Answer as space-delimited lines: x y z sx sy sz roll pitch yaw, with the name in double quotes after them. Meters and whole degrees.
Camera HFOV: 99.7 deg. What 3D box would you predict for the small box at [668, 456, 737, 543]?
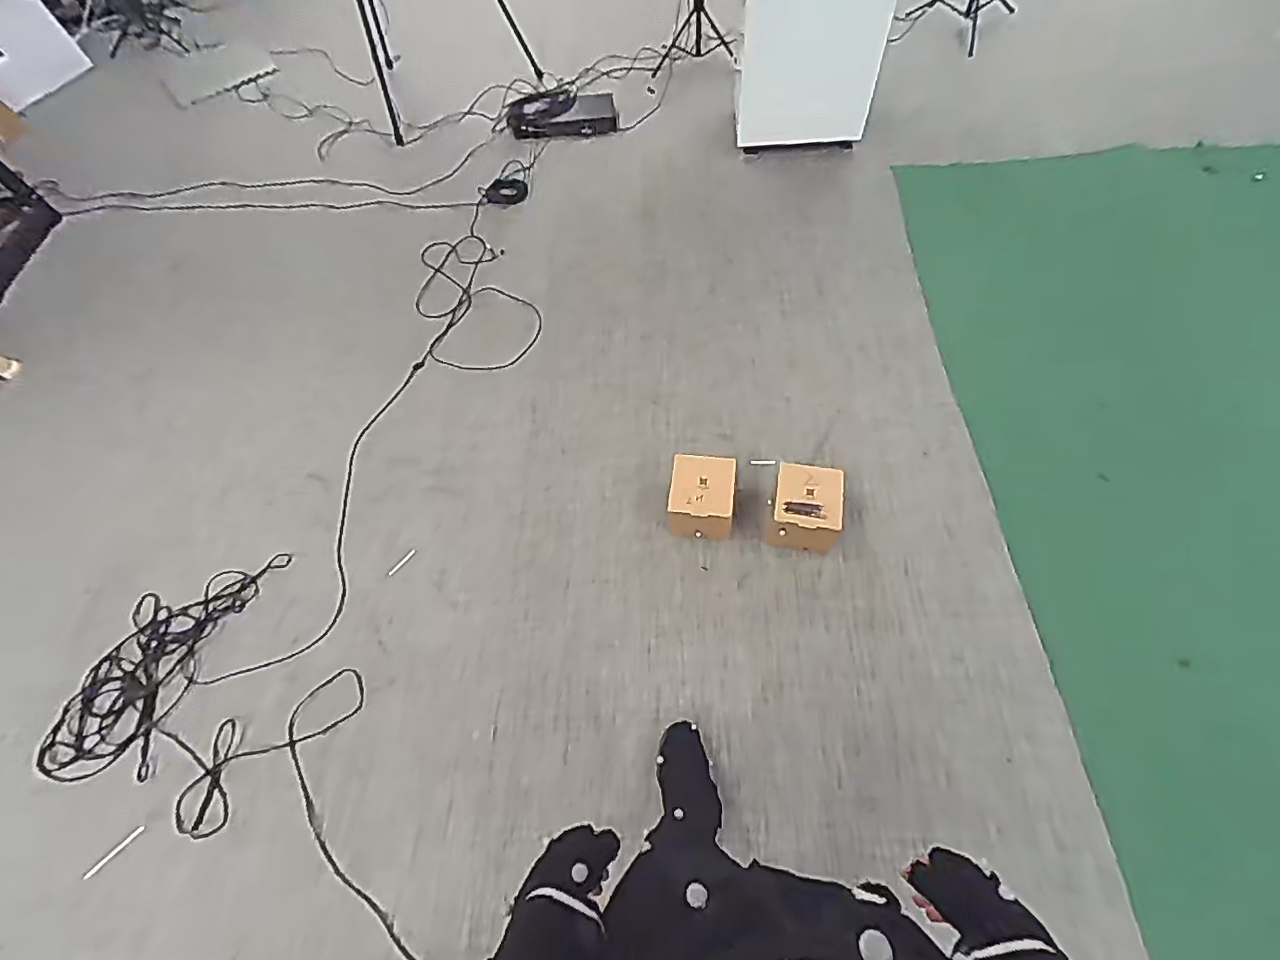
0.172 0.056 1.484 0.168 0.176 0.179 5 63 9 "small box"
